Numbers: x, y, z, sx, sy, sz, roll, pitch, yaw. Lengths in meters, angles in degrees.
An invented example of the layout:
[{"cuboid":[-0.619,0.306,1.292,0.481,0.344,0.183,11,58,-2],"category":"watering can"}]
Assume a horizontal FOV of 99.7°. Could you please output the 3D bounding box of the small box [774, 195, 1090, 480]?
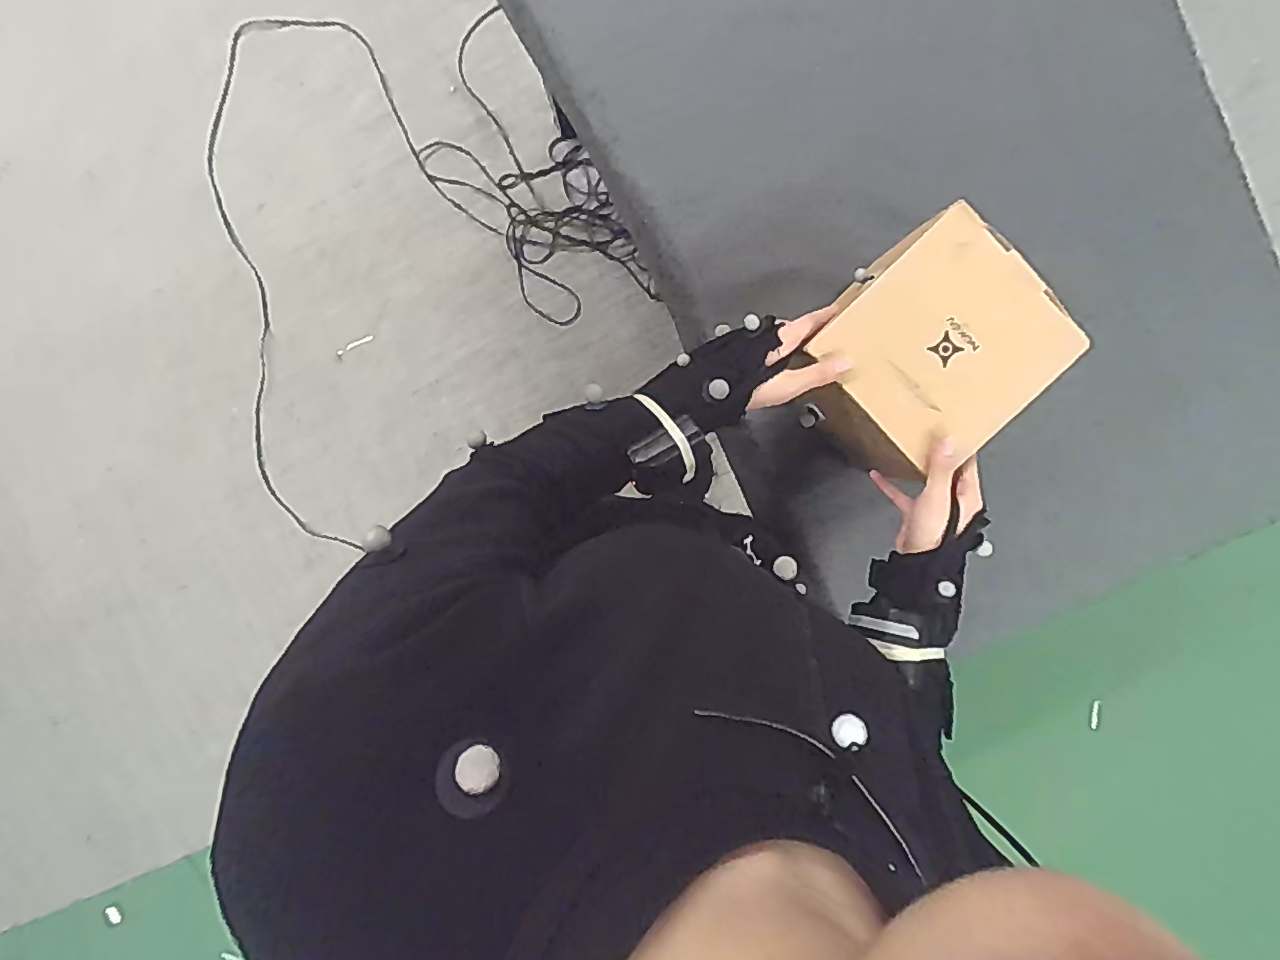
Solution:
[{"cuboid":[0.257,-0.124,0.527,0.168,0.176,0.179,45,96,-3],"category":"small box"}]
